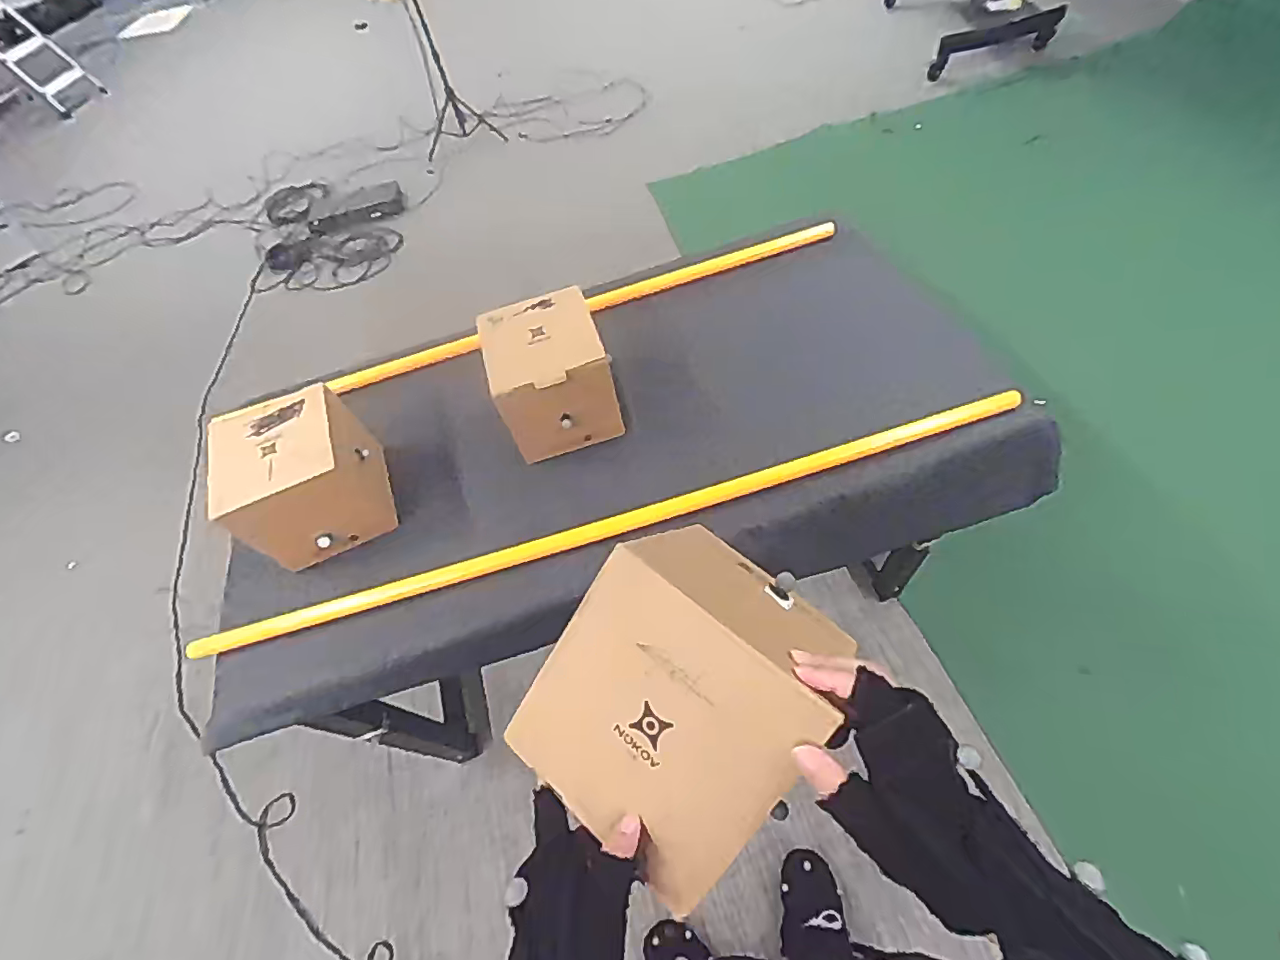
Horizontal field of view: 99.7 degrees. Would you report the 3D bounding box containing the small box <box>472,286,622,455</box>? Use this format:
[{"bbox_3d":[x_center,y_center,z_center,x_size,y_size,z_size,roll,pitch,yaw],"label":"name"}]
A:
[{"bbox_3d":[-0.139,-0.160,0.843,0.168,0.176,0.179,-21,56,-3],"label":"small box"}]

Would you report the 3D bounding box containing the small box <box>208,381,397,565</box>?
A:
[{"bbox_3d":[-0.485,-0.006,0.794,0.168,0.176,0.179,-24,58,-7],"label":"small box"}]
